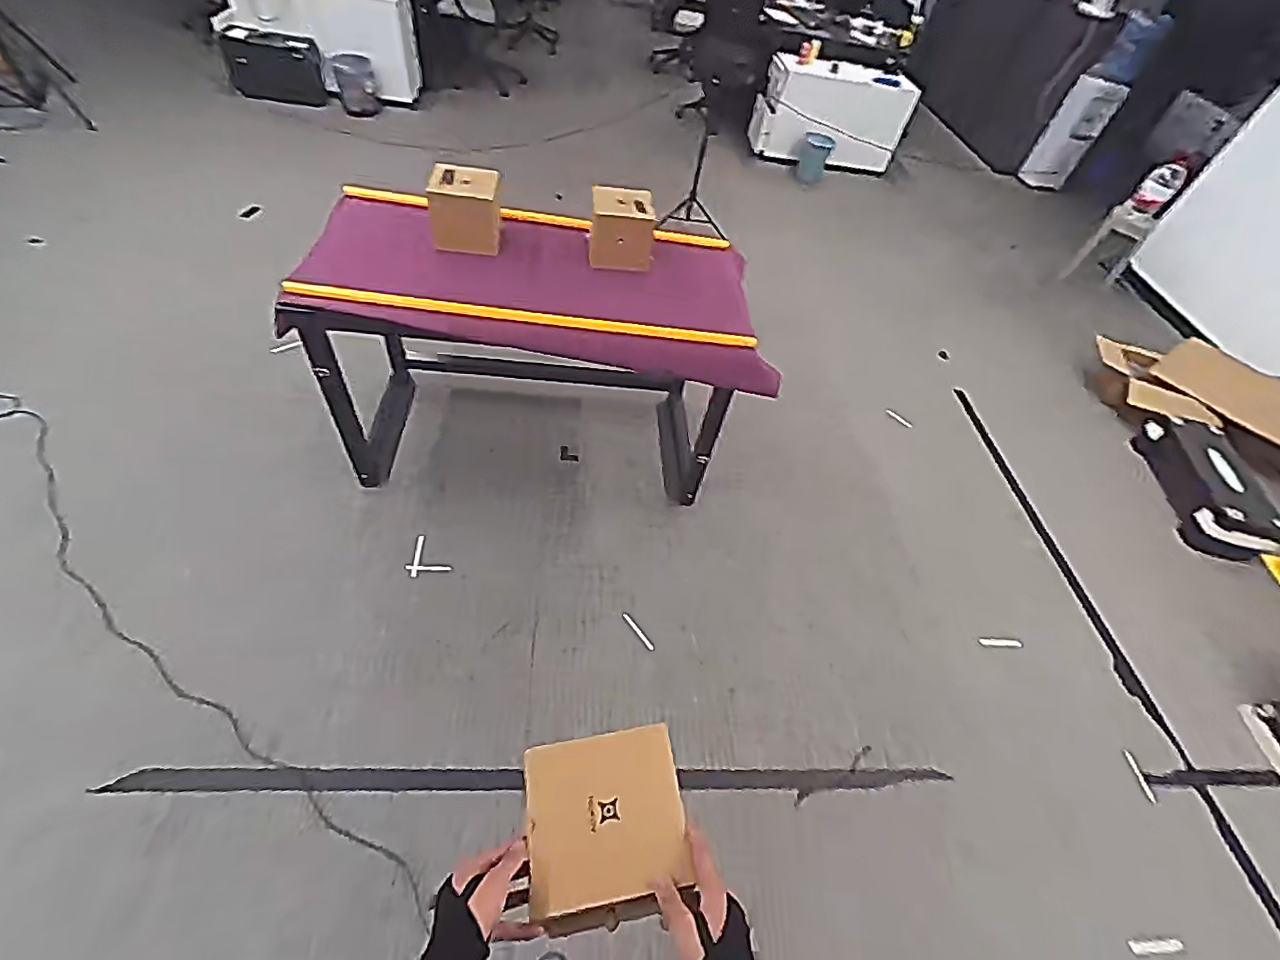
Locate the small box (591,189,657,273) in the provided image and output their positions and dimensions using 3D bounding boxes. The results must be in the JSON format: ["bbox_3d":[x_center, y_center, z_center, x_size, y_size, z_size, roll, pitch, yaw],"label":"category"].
[{"bbox_3d":[-0.053,-0.736,1.609,0.179,0.176,0.168,1,53,-8],"label":"small box"}]

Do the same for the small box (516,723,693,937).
[{"bbox_3d":[-0.044,0.419,0.648,0.179,0.176,0.168,-10,46,-6],"label":"small box"}]
